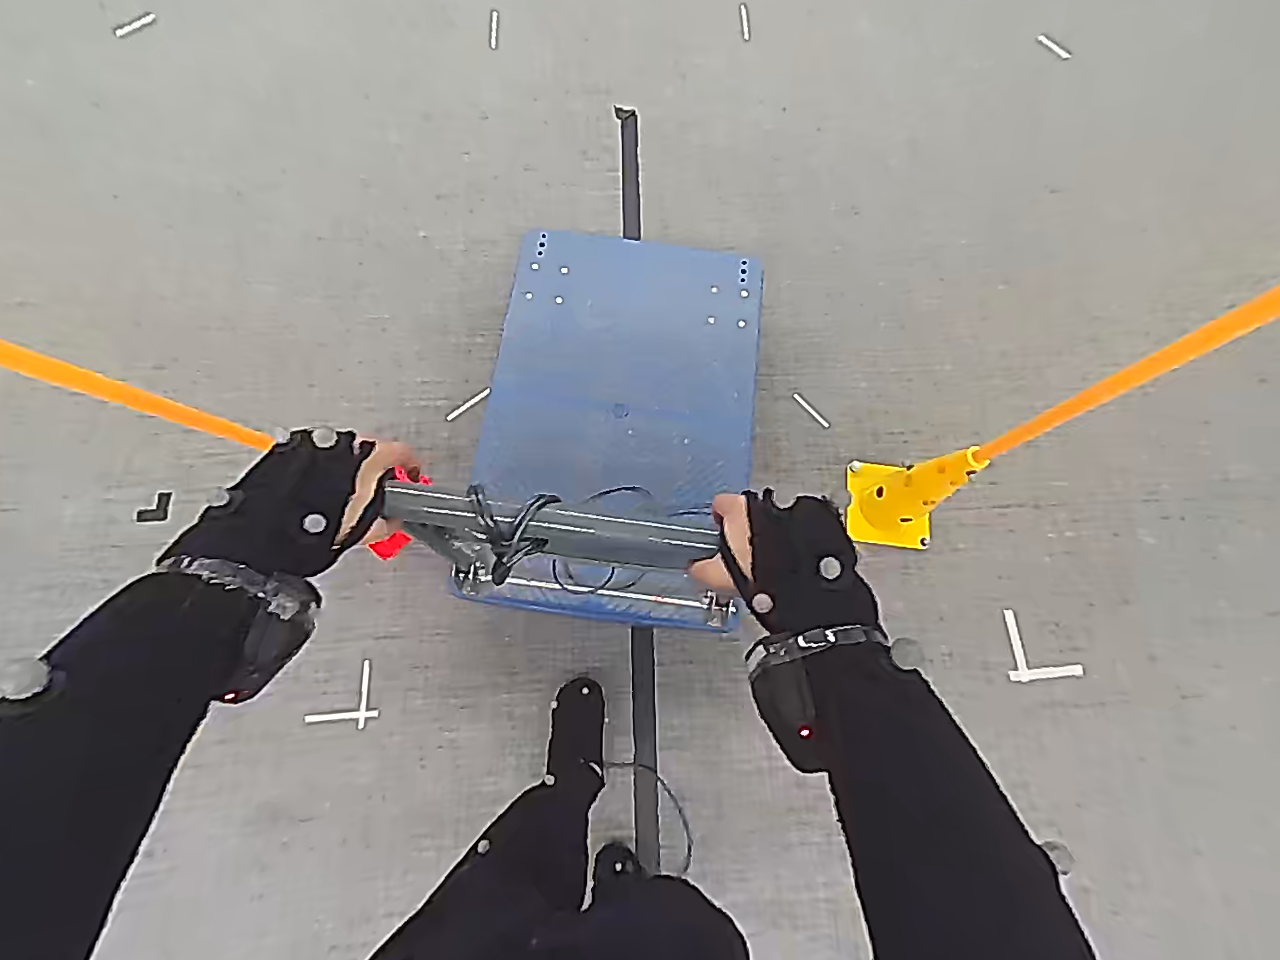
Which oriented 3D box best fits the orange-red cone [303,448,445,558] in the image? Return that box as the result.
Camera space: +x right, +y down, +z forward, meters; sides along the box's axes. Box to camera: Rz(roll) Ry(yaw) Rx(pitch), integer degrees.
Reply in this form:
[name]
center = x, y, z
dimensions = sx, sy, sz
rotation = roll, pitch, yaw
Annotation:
[orange-red cone]
center = -0.573, 0.008, 1.098
dimensions = 0.198, 0.360, 0.199
rotation = 43, 75, 9
